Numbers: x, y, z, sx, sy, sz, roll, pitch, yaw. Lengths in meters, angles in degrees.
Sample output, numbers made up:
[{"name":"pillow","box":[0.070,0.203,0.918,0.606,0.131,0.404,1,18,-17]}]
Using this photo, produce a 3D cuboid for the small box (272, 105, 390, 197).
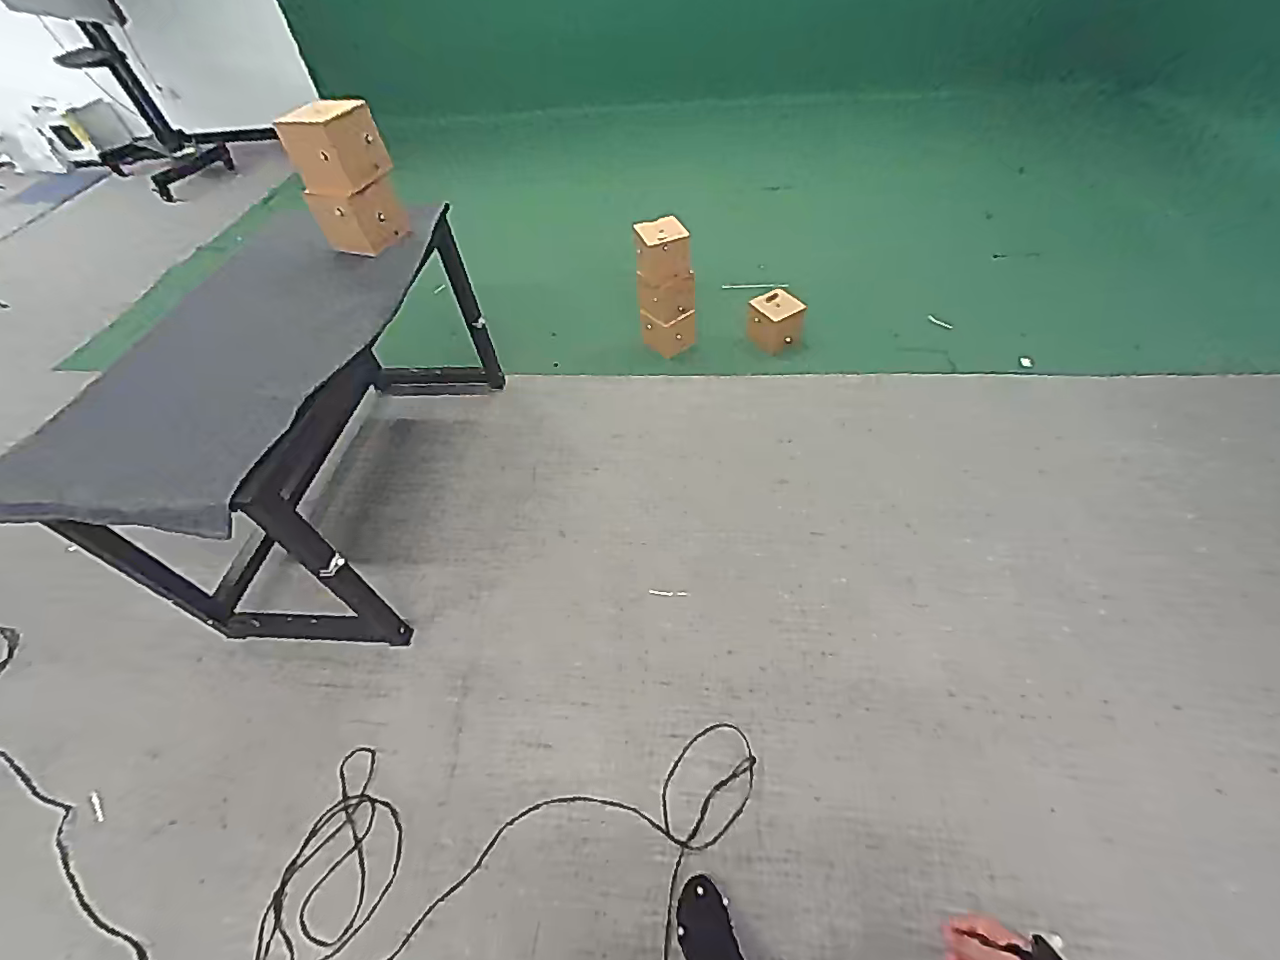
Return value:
[{"name":"small box","box":[-0.810,-0.874,1.439,0.179,0.176,0.168,12,52,18]}]

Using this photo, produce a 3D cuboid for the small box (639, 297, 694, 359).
[{"name":"small box","box":[0.120,-0.644,2.312,0.168,0.176,0.179,-34,55,-20]}]

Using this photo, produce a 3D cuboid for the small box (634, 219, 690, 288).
[{"name":"small box","box":[0.085,-0.867,2.072,0.168,0.176,0.179,-19,51,-8]}]

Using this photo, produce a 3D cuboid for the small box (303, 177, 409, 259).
[{"name":"small box","box":[-0.805,-0.757,1.553,0.179,0.176,0.168,16,54,21]}]

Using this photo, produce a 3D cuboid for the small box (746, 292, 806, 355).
[{"name":"small box","box":[0.563,-0.655,2.268,0.168,0.176,0.179,-28,54,-16]}]
